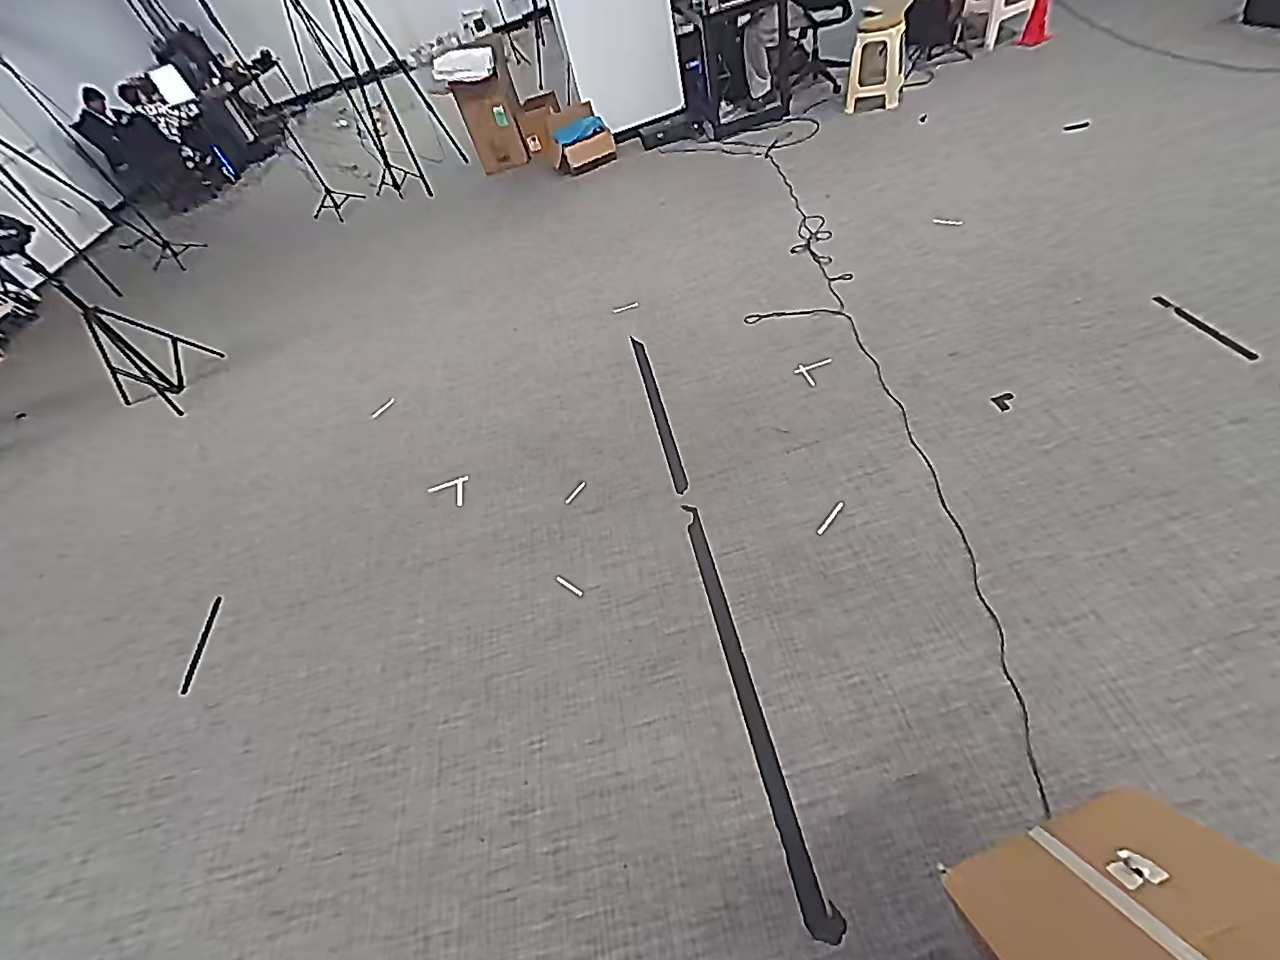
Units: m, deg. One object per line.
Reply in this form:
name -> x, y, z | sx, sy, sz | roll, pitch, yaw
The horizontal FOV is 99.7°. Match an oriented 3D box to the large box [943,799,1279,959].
large box -> 0.636, 0.642, 0.580 | 0.320, 0.408, 0.320 | -25, 81, 0
